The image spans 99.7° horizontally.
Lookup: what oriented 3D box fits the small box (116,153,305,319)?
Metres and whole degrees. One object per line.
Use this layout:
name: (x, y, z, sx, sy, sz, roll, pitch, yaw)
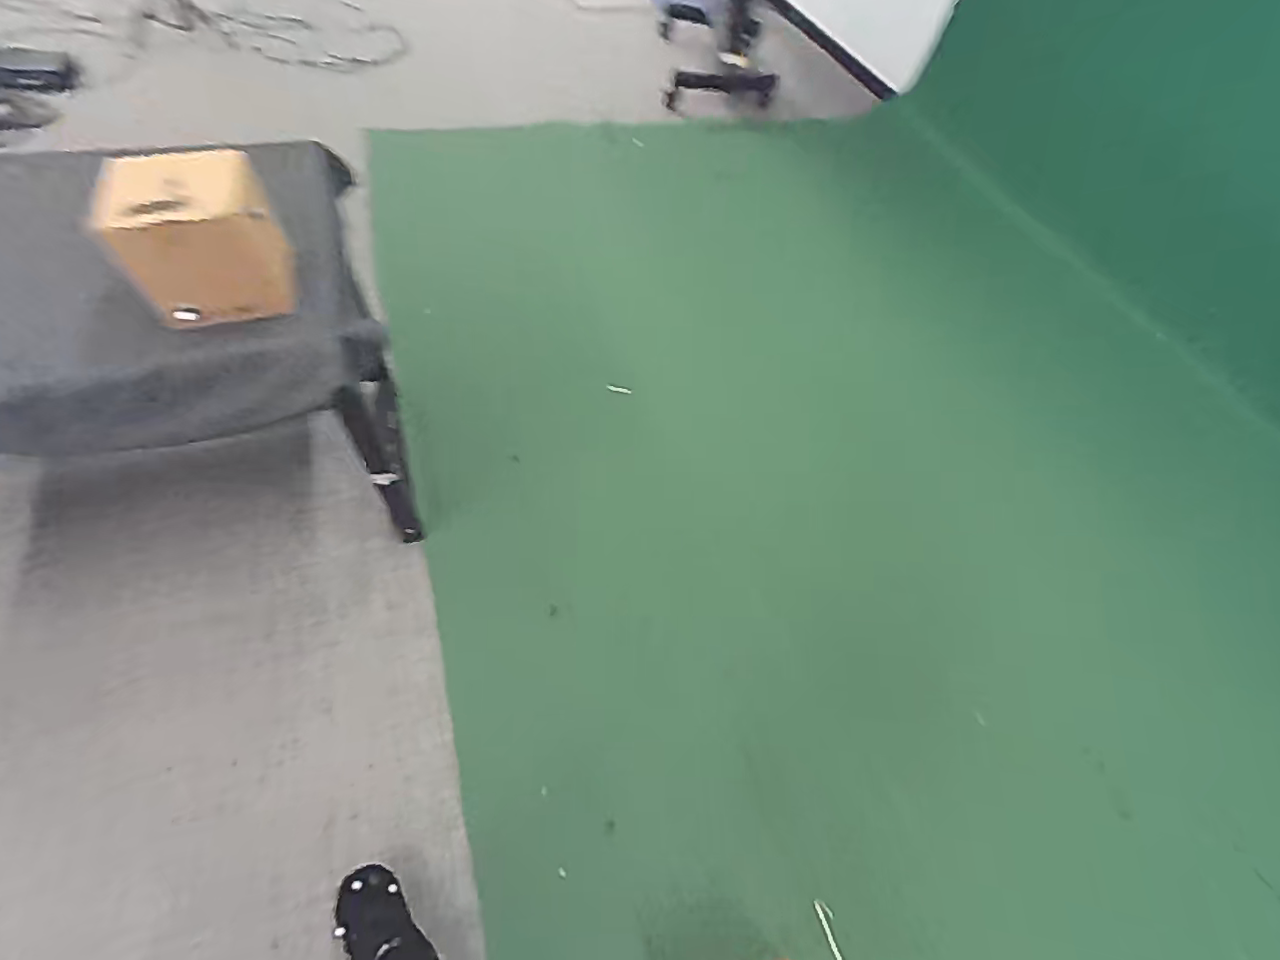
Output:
small box: (-0.633, -0.363, 0.825, 0.168, 0.176, 0.179, -13, 59, -14)
